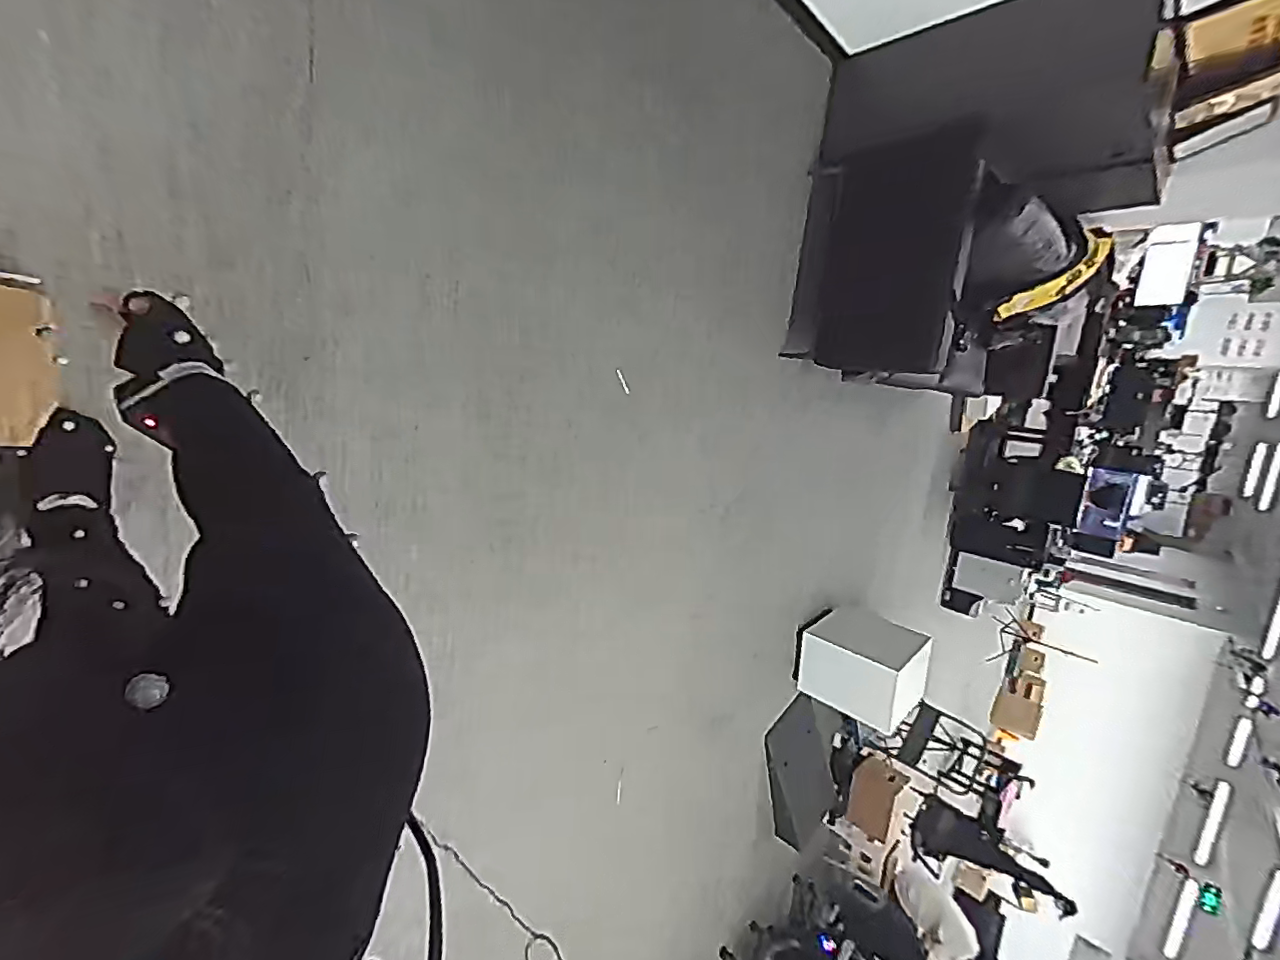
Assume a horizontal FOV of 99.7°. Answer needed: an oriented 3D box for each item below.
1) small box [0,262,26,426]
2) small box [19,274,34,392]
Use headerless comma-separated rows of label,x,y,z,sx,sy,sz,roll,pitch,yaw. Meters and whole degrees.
small box,-0.797,-0.164,0.586,0.168,0.176,0.179,3,100,-47
small box,-1.032,-0.233,0.805,0.168,0.176,0.179,-2,104,-47
